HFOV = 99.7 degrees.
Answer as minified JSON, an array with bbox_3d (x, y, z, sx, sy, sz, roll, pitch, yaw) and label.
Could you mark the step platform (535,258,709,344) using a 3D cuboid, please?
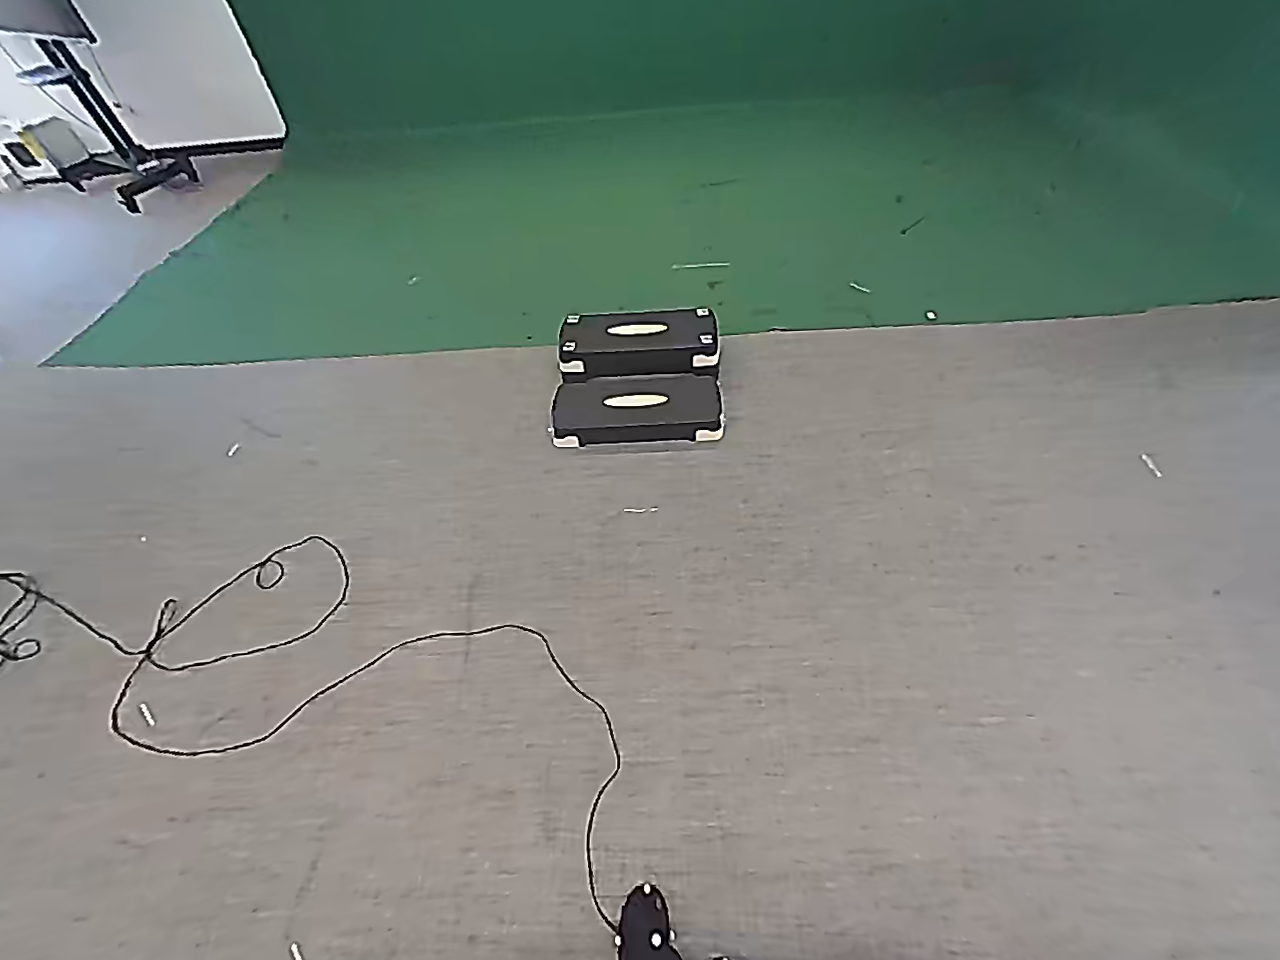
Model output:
[{"bbox_3d":[-0.067,-0.724,2.188,0.684,0.204,0.286,-3,50,4],"label":"step platform"}]
